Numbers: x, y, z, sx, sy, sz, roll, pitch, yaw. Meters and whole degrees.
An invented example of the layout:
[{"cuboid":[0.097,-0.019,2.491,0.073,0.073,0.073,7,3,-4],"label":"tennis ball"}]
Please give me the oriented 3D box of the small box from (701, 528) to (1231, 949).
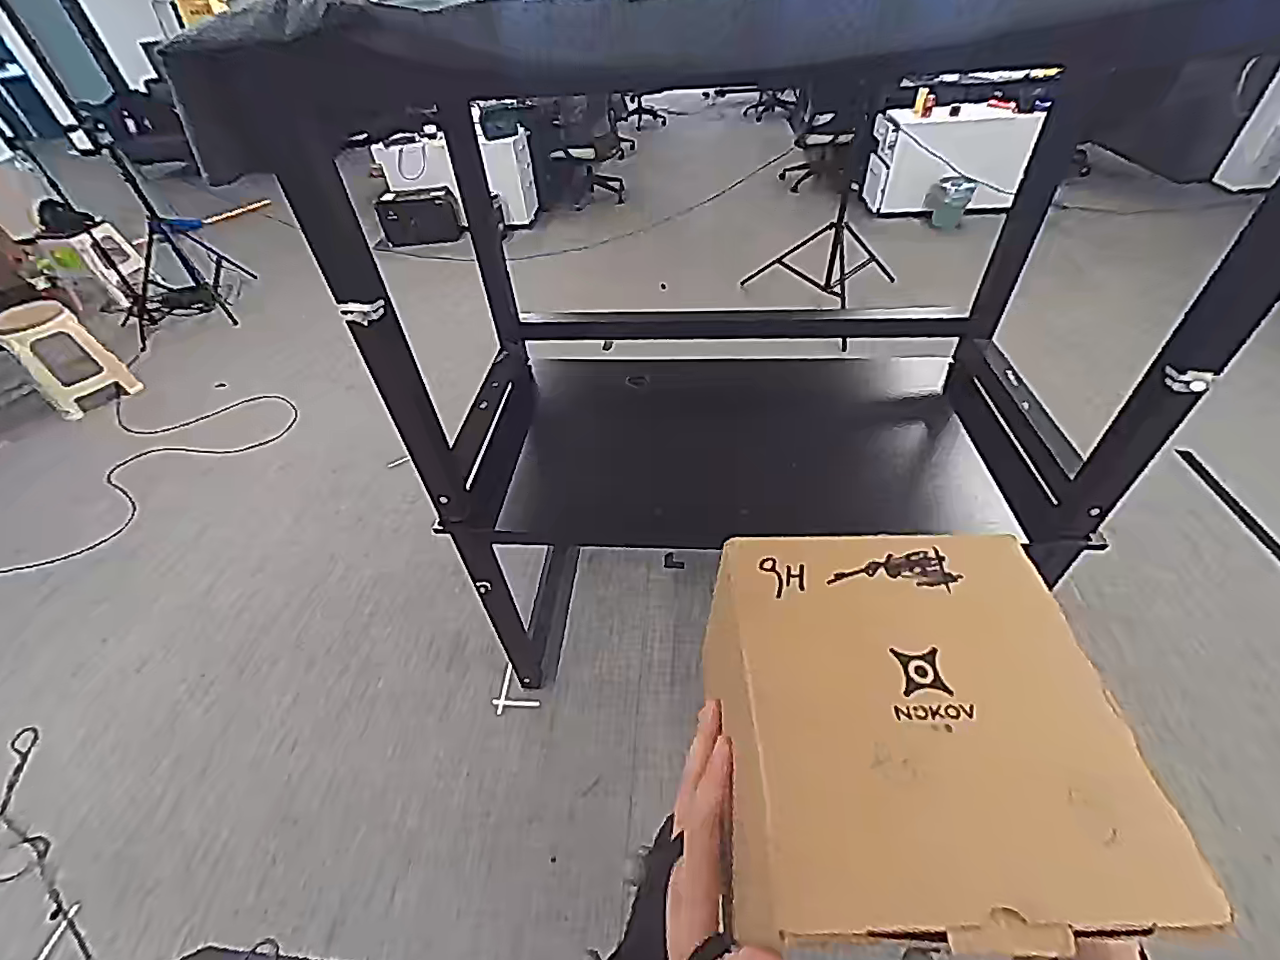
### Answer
[{"cuboid":[0.128,0.145,0.304,0.168,0.176,0.179,0,50,-1],"label":"small box"}]
